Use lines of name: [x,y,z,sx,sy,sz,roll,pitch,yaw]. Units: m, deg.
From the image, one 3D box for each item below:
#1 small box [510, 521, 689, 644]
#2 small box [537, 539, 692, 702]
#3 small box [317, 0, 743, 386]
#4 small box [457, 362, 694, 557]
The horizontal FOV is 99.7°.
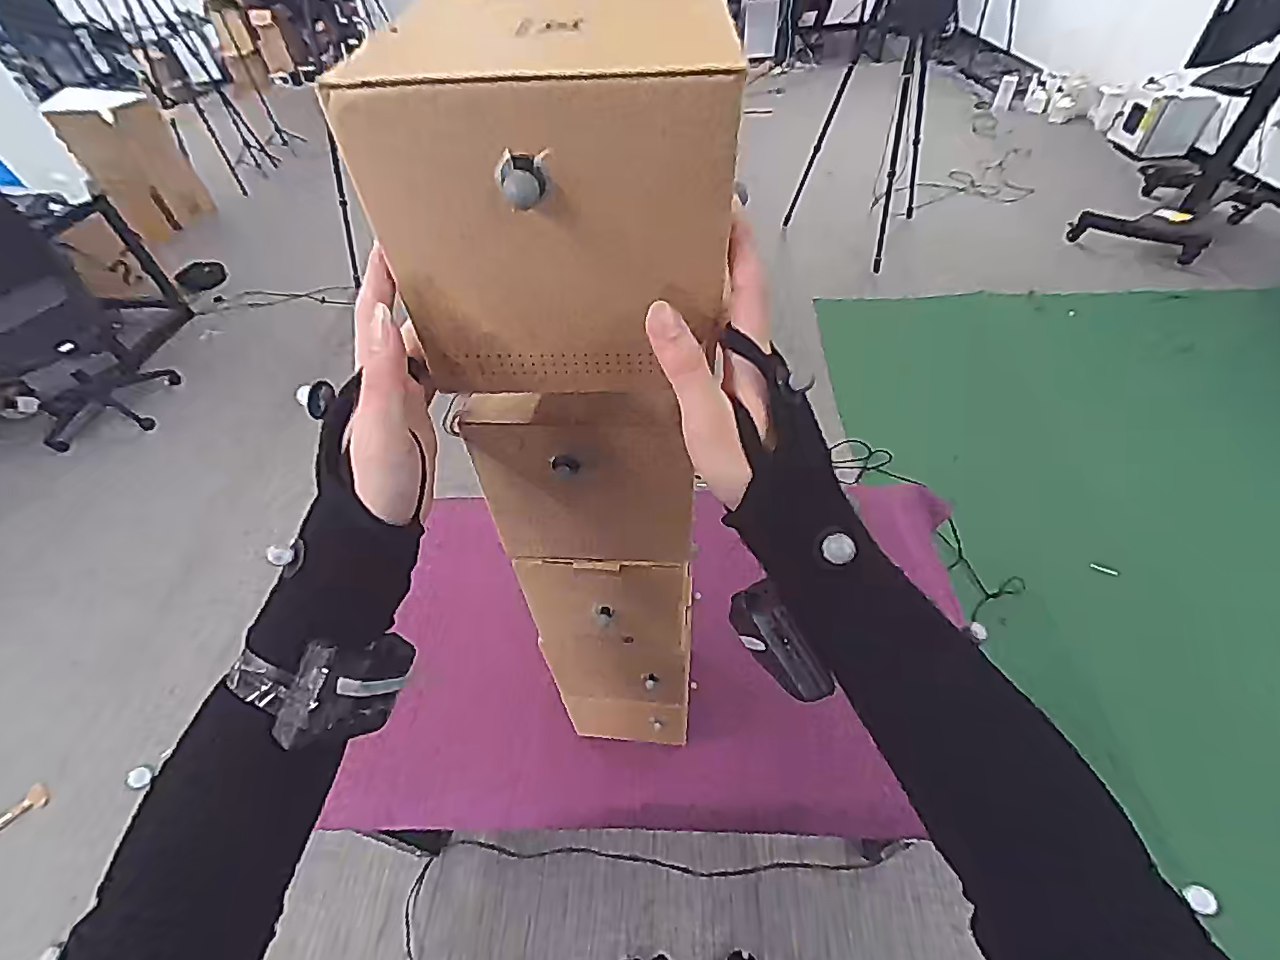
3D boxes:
small box: [-0.030,0.071,0.620,0.168,0.176,0.179,3,48,6]
small box: [-0.022,0.187,0.735,0.179,0.176,0.168,2,47,7]
small box: [-0.041,-0.171,0.328,0.179,0.176,0.168,-1,51,3]
small box: [-0.040,-0.043,0.502,0.179,0.176,0.168,2,47,4]
